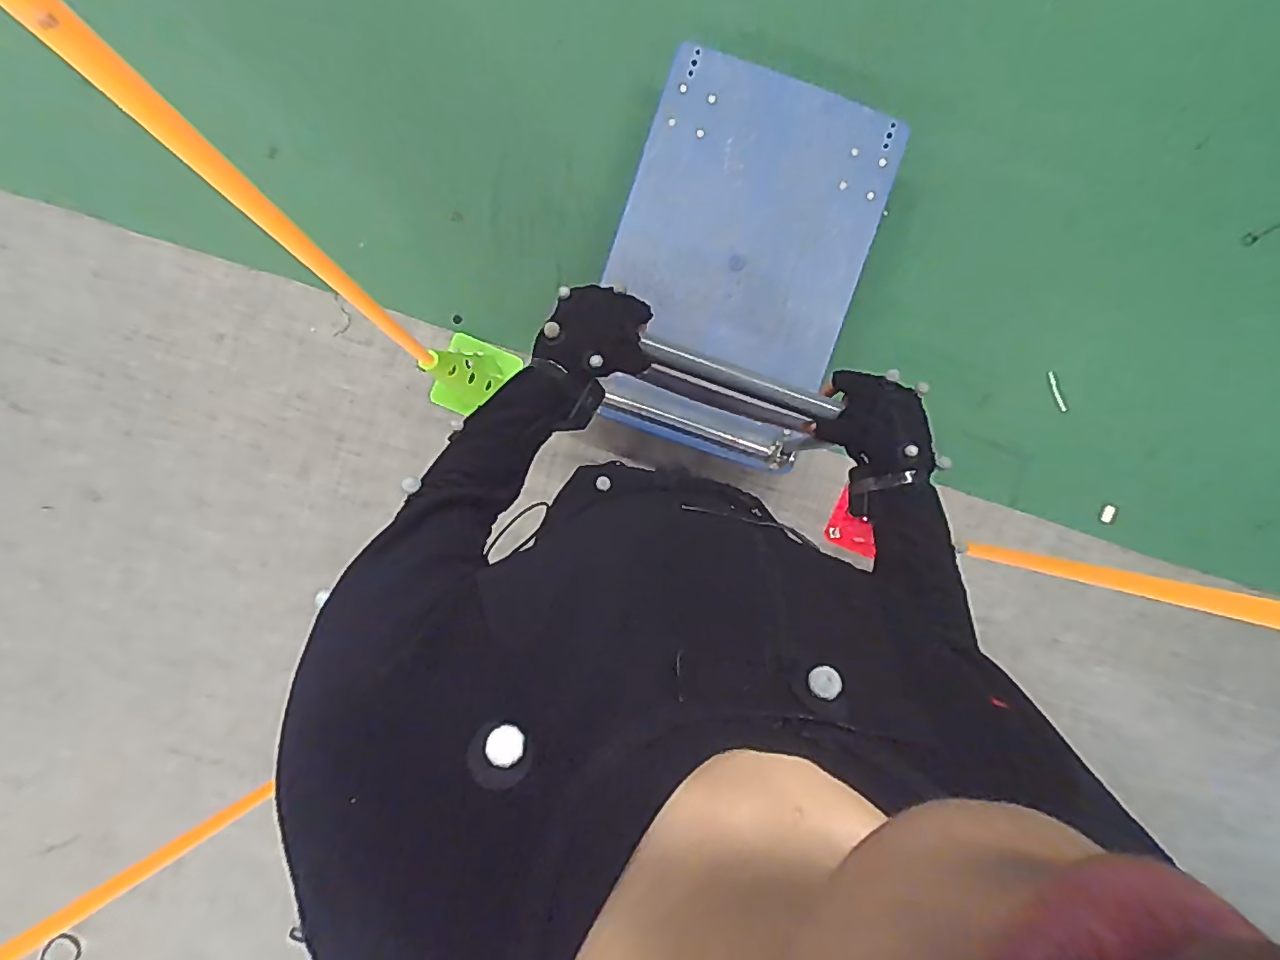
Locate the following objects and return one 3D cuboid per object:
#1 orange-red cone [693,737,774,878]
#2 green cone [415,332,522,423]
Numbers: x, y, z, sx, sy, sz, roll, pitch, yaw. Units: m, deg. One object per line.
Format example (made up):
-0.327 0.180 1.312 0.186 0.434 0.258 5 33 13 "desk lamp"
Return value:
0.265 0.850 1.361 0.199 0.360 0.198 17 92 -1 "orange-red cone"
-0.433 -0.266 1.272 0.202 0.368 0.200 22 92 -2 "green cone"
